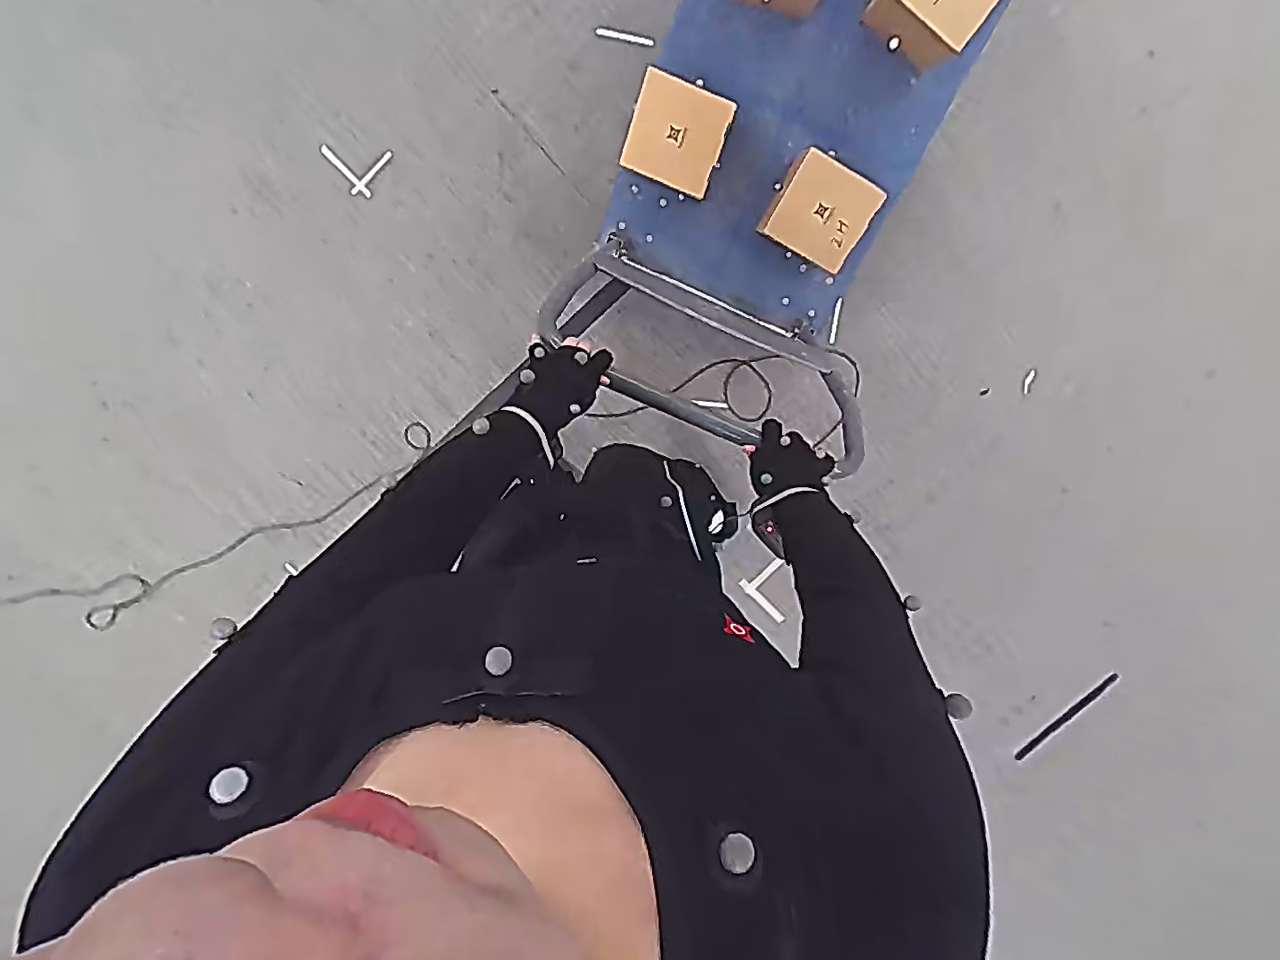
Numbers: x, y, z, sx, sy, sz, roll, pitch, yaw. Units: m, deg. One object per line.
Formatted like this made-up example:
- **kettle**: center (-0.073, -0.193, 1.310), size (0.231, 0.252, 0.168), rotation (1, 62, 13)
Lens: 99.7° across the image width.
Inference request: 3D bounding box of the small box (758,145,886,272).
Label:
- **small box**: center (0.360, -0.552, 1.114), size (0.179, 0.176, 0.168), rotation (28, 116, -8)

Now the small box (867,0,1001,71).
- **small box**: center (0.531, -0.865, 0.940), size (0.168, 0.176, 0.179), rotation (33, 116, -11)

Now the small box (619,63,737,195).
- **small box**: center (0.073, -0.683, 1.077), size (0.179, 0.176, 0.168), rotation (20, 117, -6)
